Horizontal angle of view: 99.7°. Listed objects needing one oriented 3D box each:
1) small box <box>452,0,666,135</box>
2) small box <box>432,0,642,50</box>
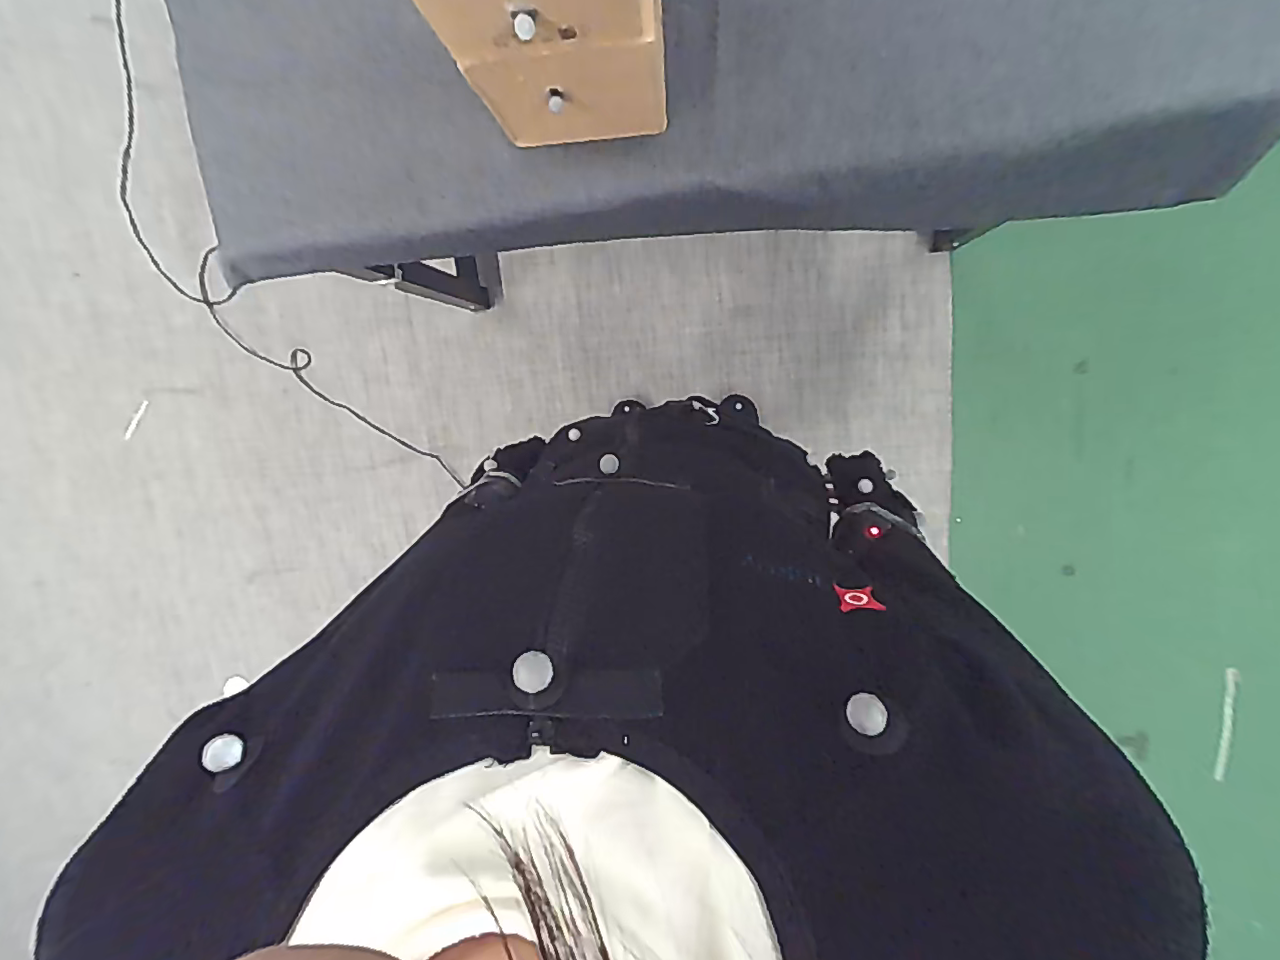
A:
[{"bbox_3d":[-0.069,-0.462,0.525,0.179,0.176,0.168,-1,100,6],"label":"small box"},{"bbox_3d":[-0.088,-0.440,0.363,0.168,0.176,0.179,-1,100,6],"label":"small box"}]
